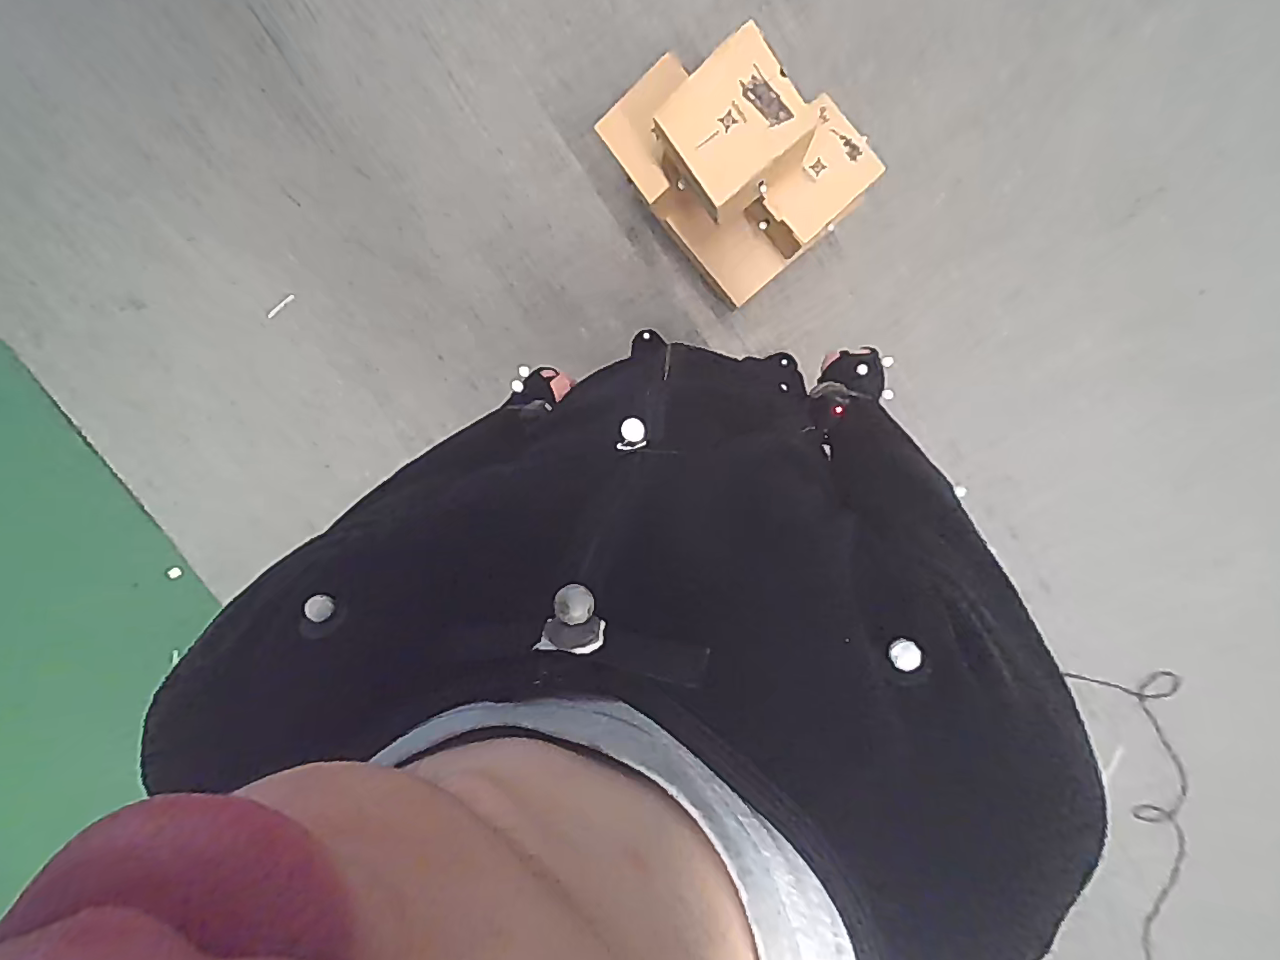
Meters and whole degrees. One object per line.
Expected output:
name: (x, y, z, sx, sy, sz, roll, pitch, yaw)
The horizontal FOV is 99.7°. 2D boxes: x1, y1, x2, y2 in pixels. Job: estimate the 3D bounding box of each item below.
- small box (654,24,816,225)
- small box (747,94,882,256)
small box: (0.145, -0.533, 0.843, 0.179, 0.176, 0.168, -35, 96, 17)
small box: (0.301, -0.539, 0.990, 0.179, 0.176, 0.168, -41, 96, 15)
